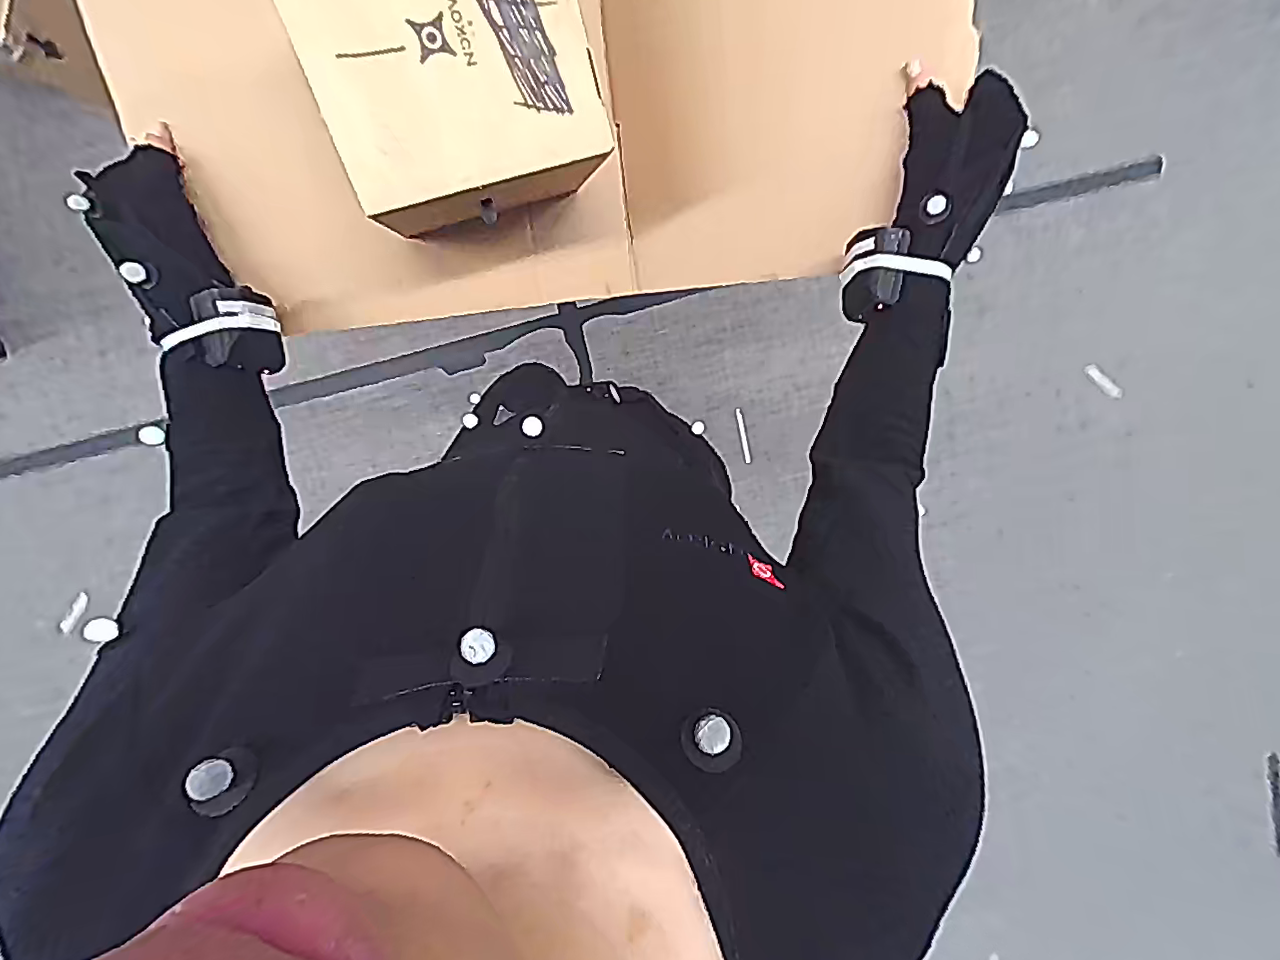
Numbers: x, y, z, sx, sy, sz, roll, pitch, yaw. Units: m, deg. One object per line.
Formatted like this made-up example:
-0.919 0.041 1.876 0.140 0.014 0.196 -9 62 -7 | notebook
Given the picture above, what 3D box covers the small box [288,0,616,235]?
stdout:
-0.136 -0.299 0.417 0.179 0.176 0.168 -19 113 -7 | small box
